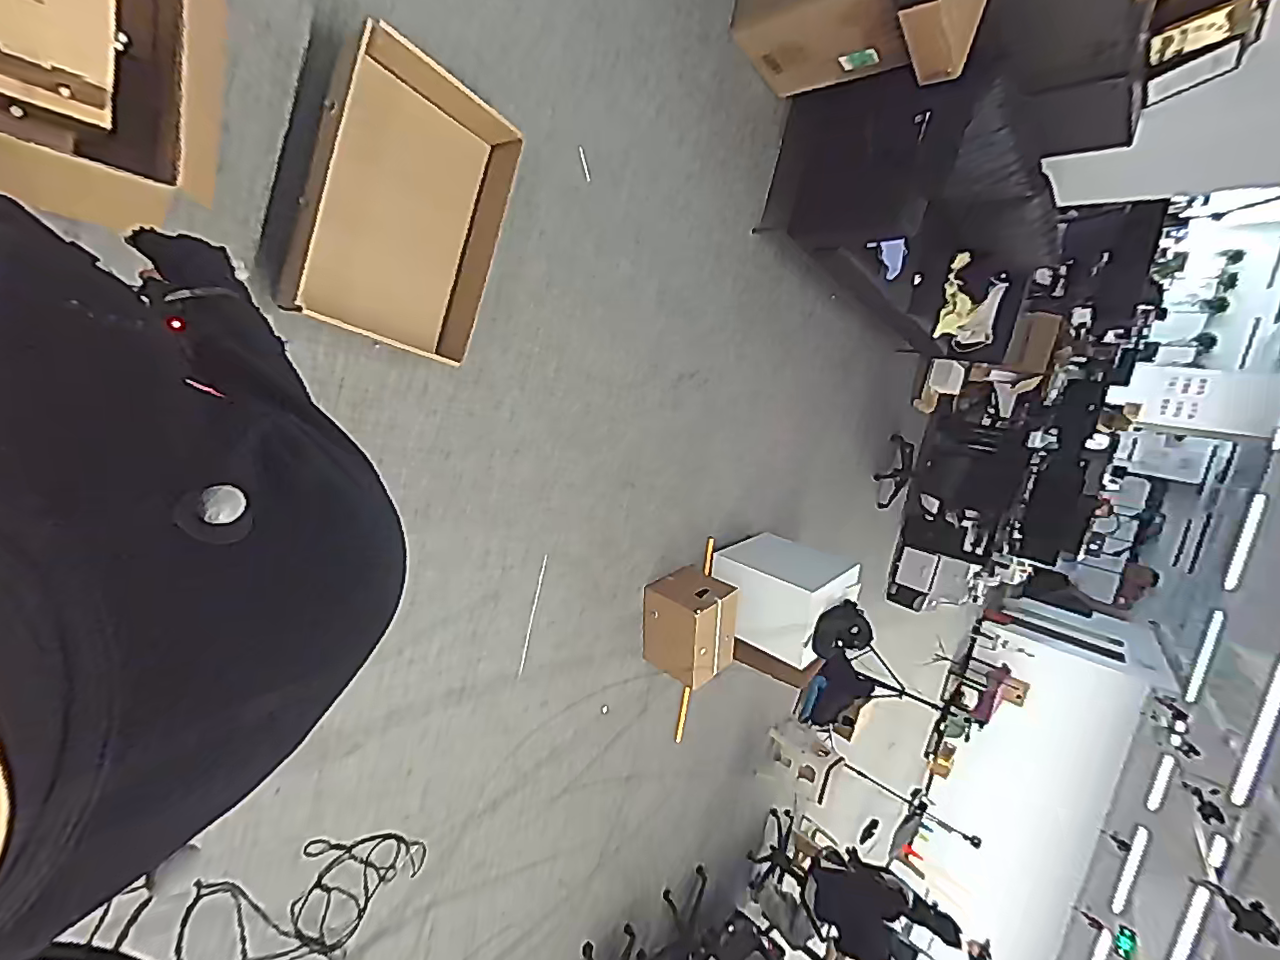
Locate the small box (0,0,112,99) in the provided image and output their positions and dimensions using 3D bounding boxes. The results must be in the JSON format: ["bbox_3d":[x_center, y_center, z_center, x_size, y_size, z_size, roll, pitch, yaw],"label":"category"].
[{"bbox_3d":[-0.832,-0.654,0.728,0.168,0.176,0.179,0,106,-49],"label":"small box"}]
